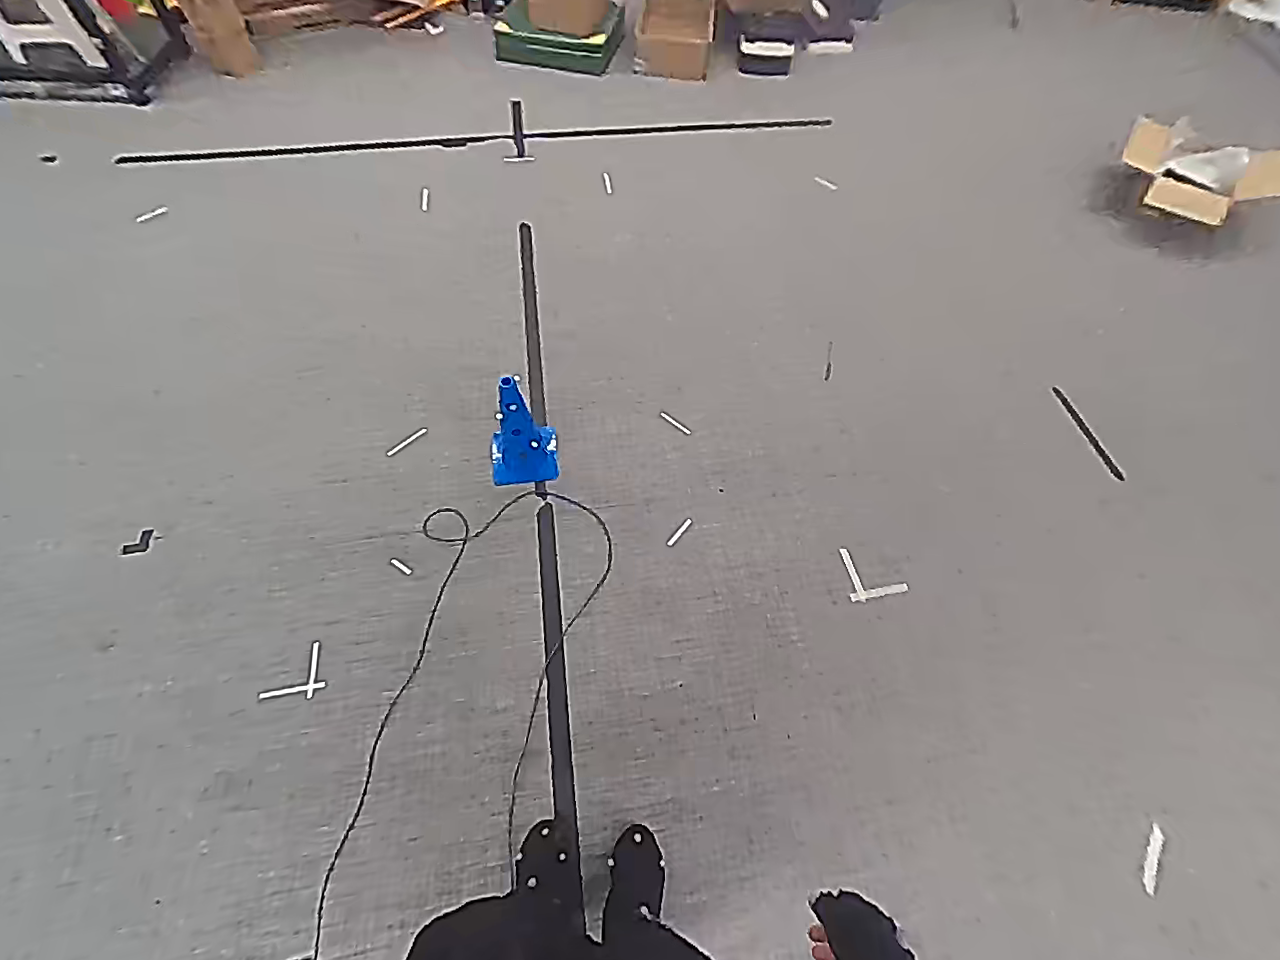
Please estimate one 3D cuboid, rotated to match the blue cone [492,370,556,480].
[{"bbox_3d":[-0.353,-0.167,1.535,0.193,0.380,0.192,-8,61,-7],"label":"blue cone"}]
